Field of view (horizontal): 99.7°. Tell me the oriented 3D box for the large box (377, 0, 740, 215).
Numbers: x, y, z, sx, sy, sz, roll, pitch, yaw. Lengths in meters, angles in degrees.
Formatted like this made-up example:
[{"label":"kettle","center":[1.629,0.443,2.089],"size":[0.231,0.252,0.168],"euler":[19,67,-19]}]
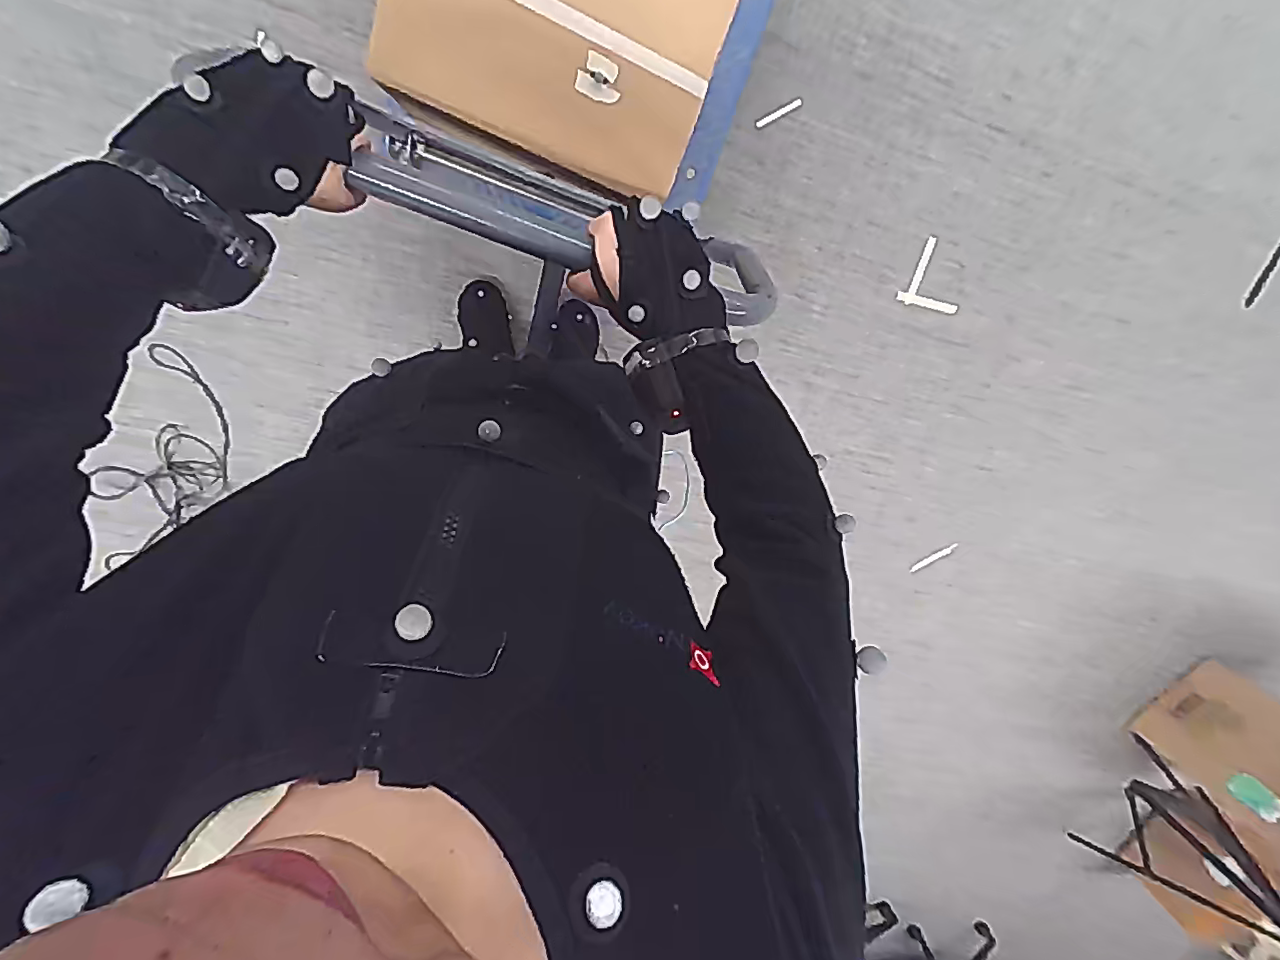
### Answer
[{"label":"large box","center":[-0.117,-0.636,0.805],"size":[0.408,0.320,0.320],"euler":[17,110,-17]}]
